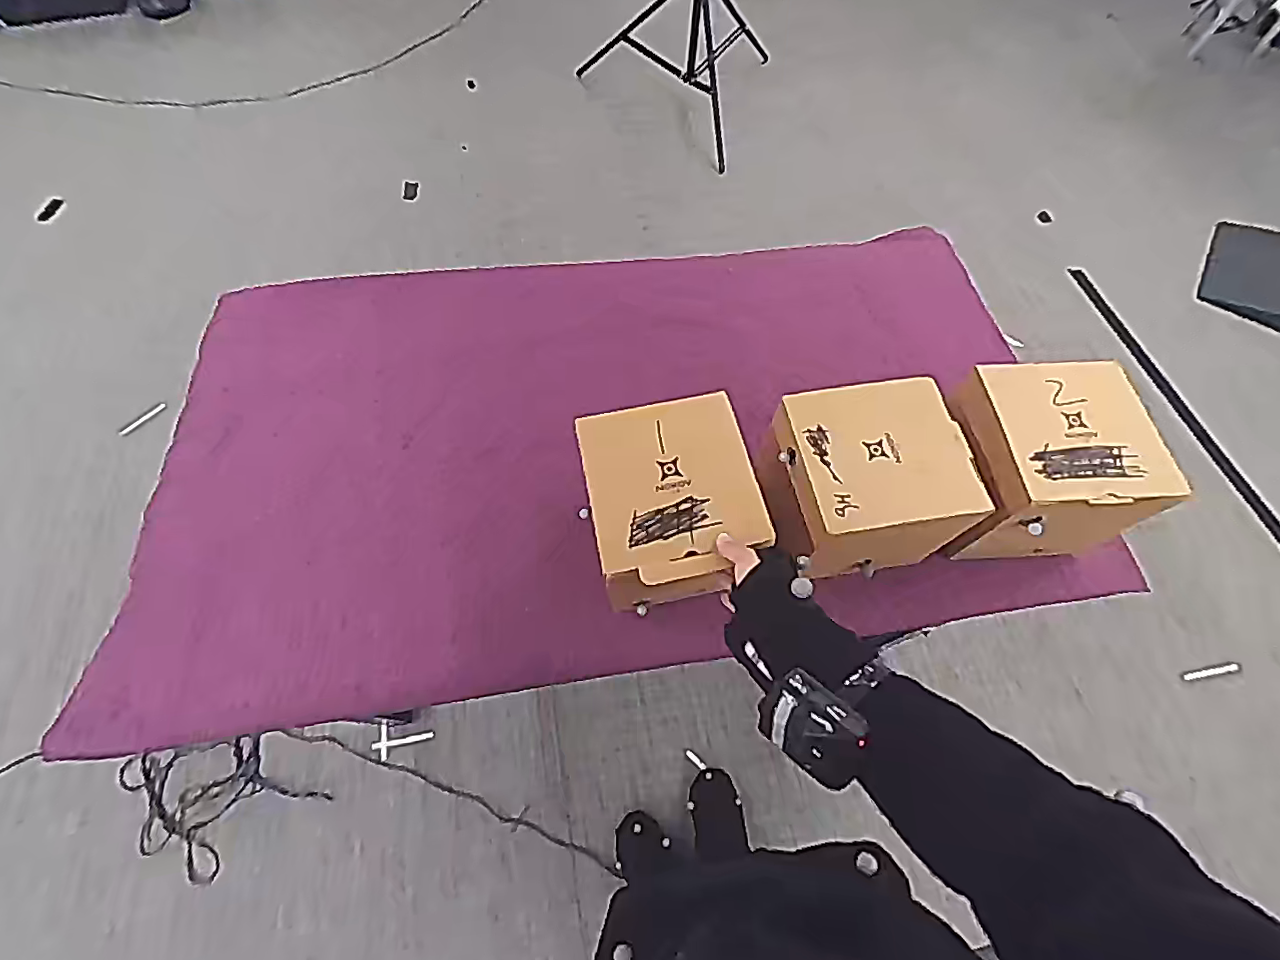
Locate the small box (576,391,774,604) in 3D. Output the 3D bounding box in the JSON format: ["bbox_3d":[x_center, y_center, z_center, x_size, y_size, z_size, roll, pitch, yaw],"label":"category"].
[{"bbox_3d":[0.032,0.031,0.602,0.168,0.176,0.179,-12,65,-5],"label":"small box"}]
